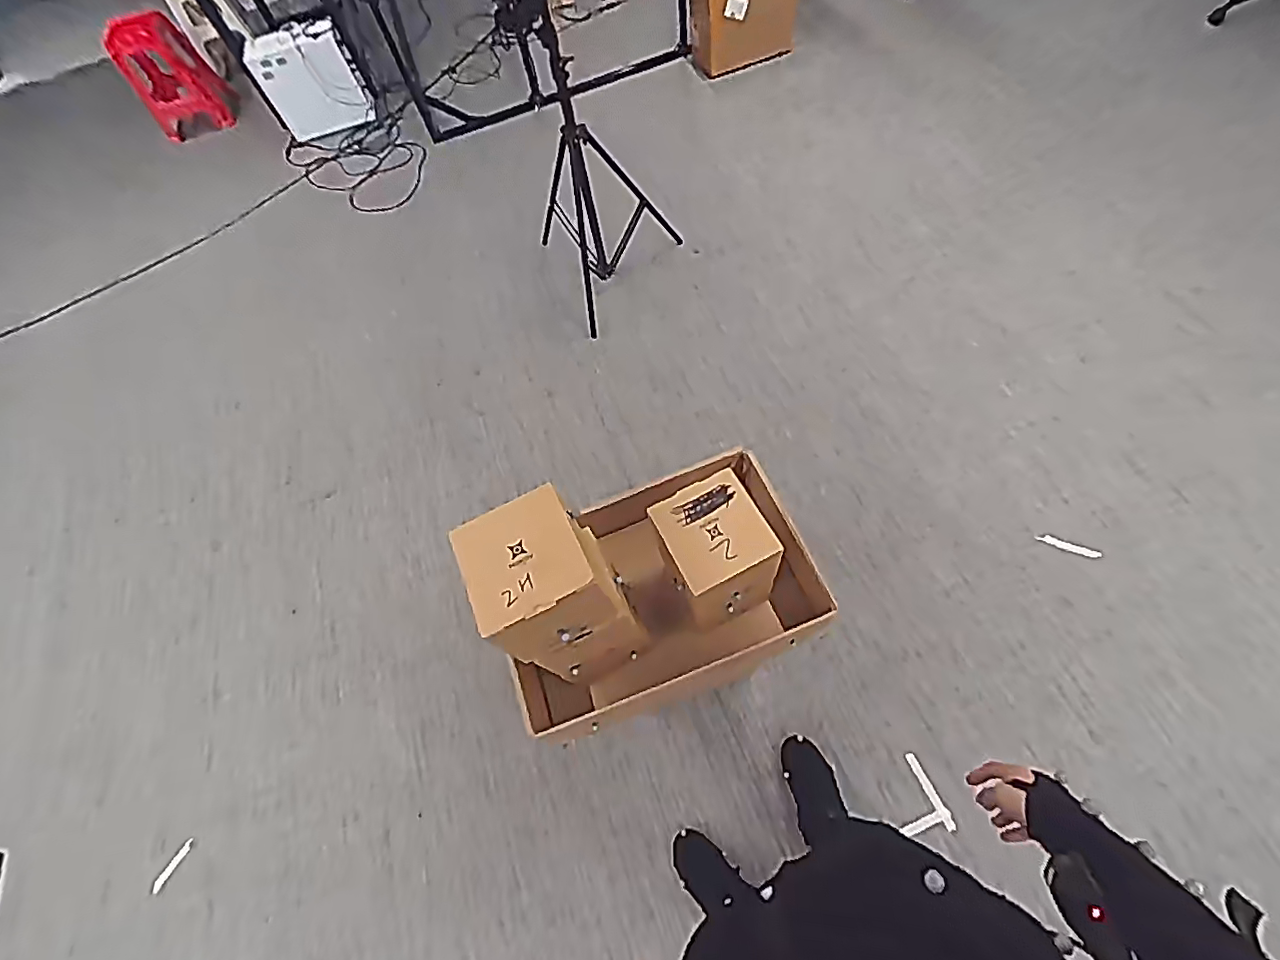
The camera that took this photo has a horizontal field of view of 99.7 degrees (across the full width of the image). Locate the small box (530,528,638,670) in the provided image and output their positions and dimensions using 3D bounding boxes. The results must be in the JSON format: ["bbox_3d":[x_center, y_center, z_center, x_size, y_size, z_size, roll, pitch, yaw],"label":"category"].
[{"bbox_3d":[-0.117,0.219,0.953,0.168,0.176,0.179,-25,61,-4],"label":"small box"}]

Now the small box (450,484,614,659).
[{"bbox_3d":[-0.155,0.142,0.811,0.168,0.176,0.179,-27,61,-5],"label":"small box"}]
